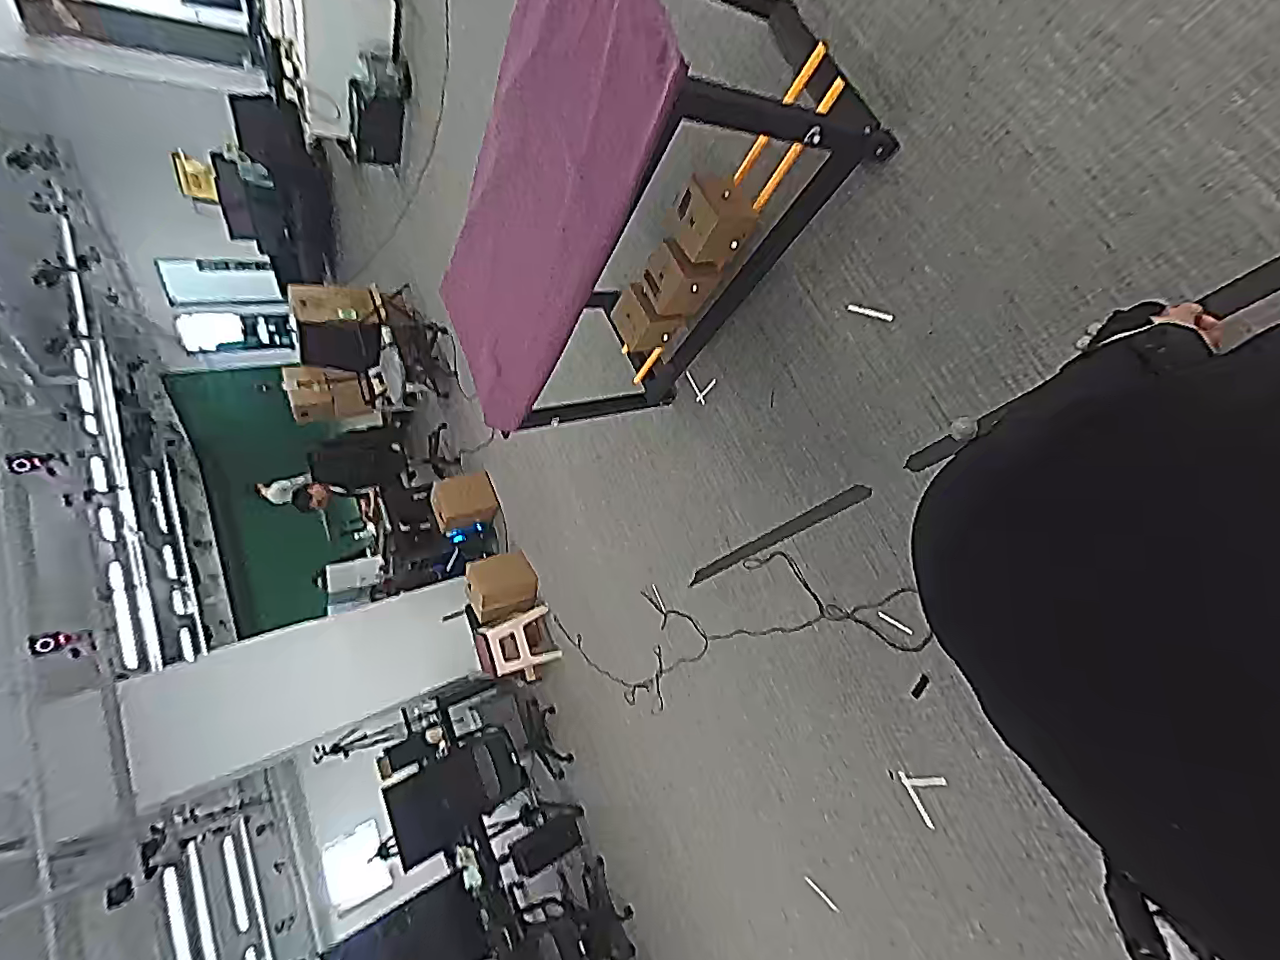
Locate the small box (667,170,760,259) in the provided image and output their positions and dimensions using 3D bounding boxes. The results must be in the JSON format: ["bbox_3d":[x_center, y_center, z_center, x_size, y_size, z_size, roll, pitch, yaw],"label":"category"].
[{"bbox_3d":[0.215,-0.774,1.589,0.179,0.176,0.168,61,145,14],"label":"small box"}]

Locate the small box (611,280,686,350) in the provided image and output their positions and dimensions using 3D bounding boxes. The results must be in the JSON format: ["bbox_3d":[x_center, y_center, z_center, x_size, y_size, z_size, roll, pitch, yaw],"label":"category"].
[{"bbox_3d":[0.032,-0.589,1.926,0.179,0.176,0.168,63,144,13],"label":"small box"}]
